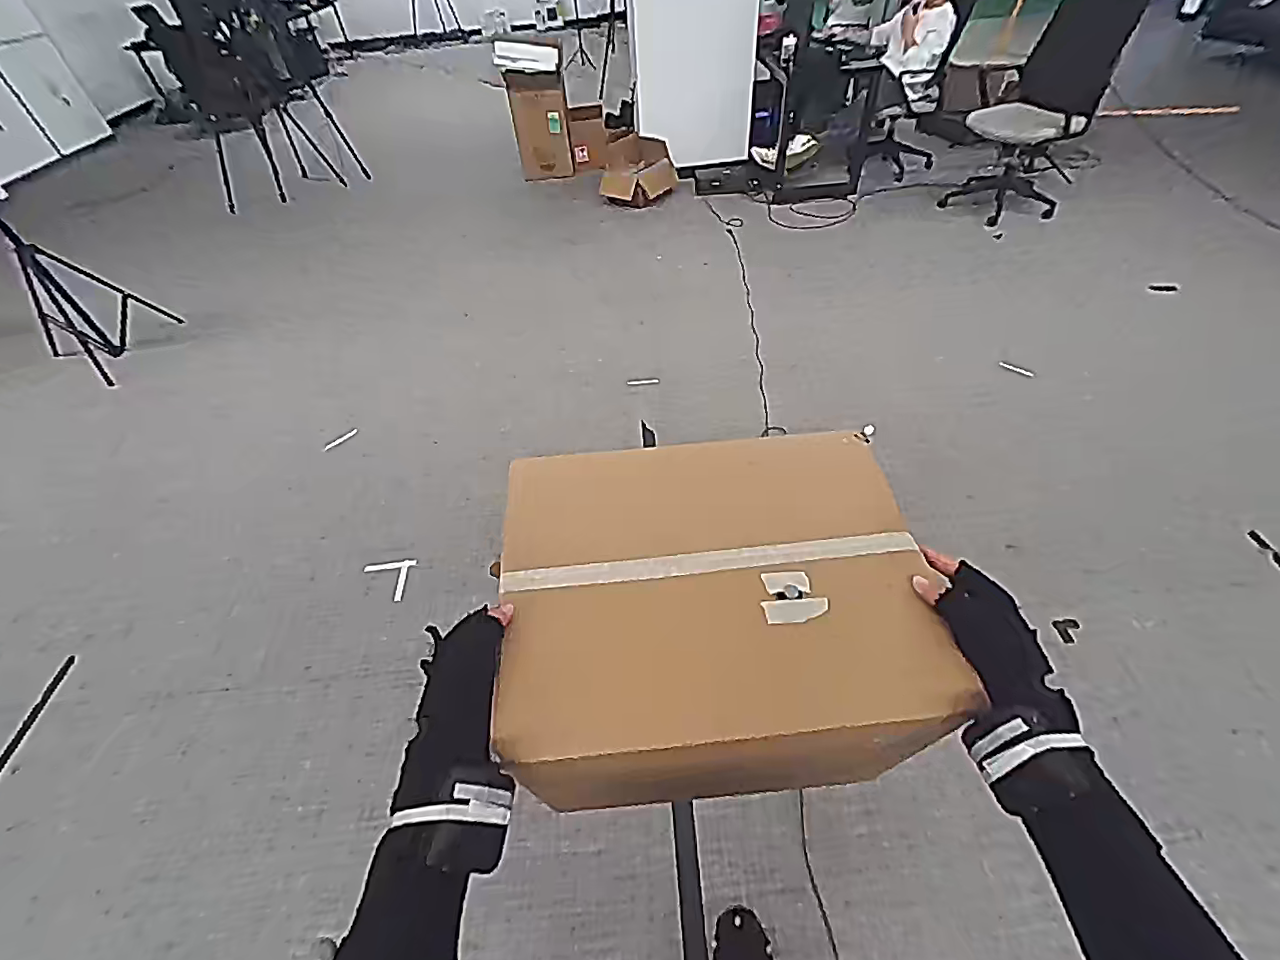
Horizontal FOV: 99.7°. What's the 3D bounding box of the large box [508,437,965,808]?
[{"bbox_3d":[0.072,0.180,0.661,0.408,0.320,0.320,-6,53,-2],"label":"large box"}]
